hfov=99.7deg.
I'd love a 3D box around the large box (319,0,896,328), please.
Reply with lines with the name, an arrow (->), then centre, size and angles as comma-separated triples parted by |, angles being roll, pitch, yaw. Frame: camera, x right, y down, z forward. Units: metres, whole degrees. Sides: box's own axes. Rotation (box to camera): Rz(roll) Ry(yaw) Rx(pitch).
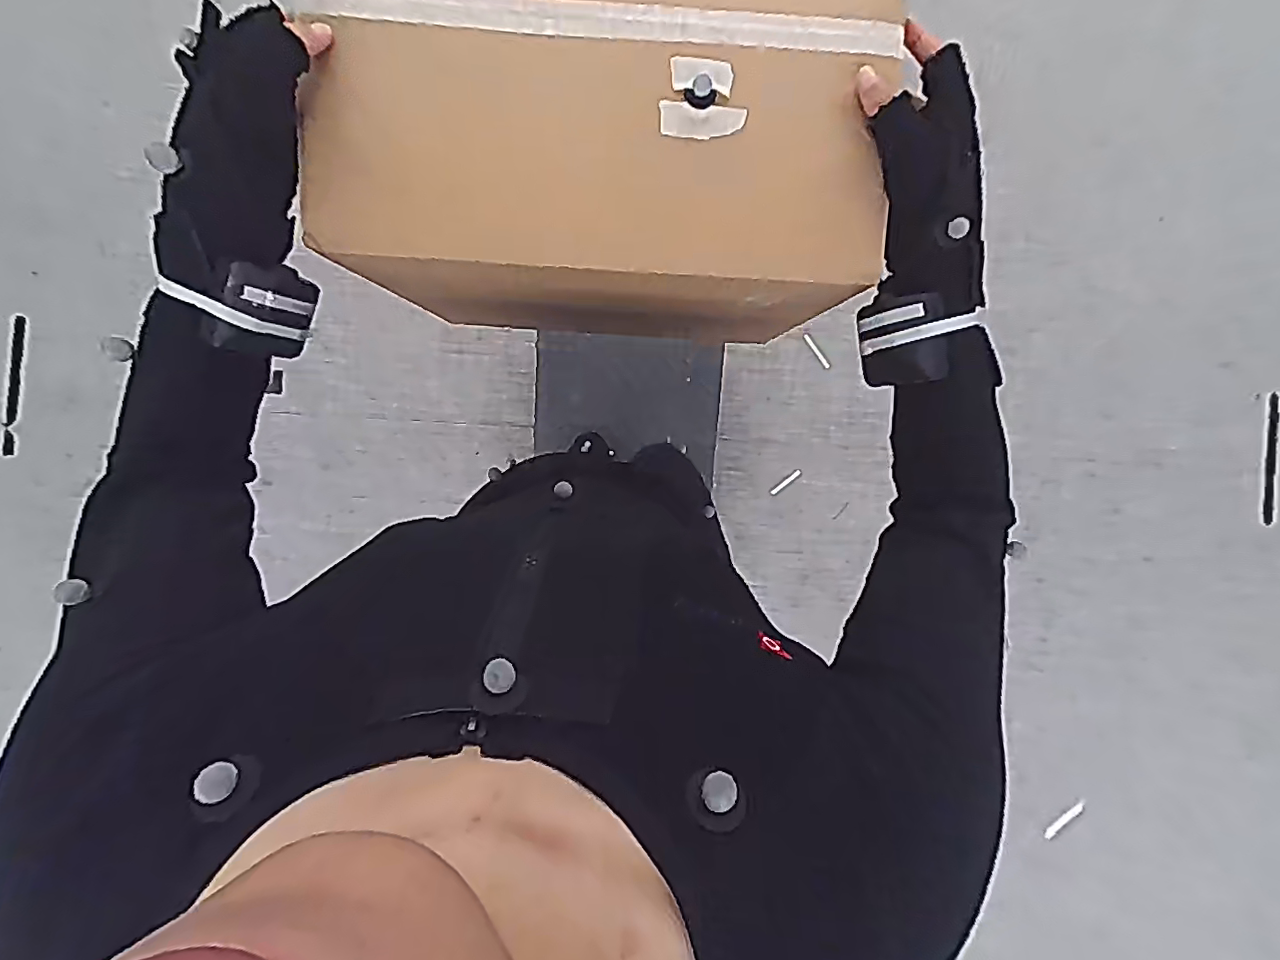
large box -> -0.027, -0.334, 0.522 | 0.408, 0.320, 0.320 | 3, 97, -3
